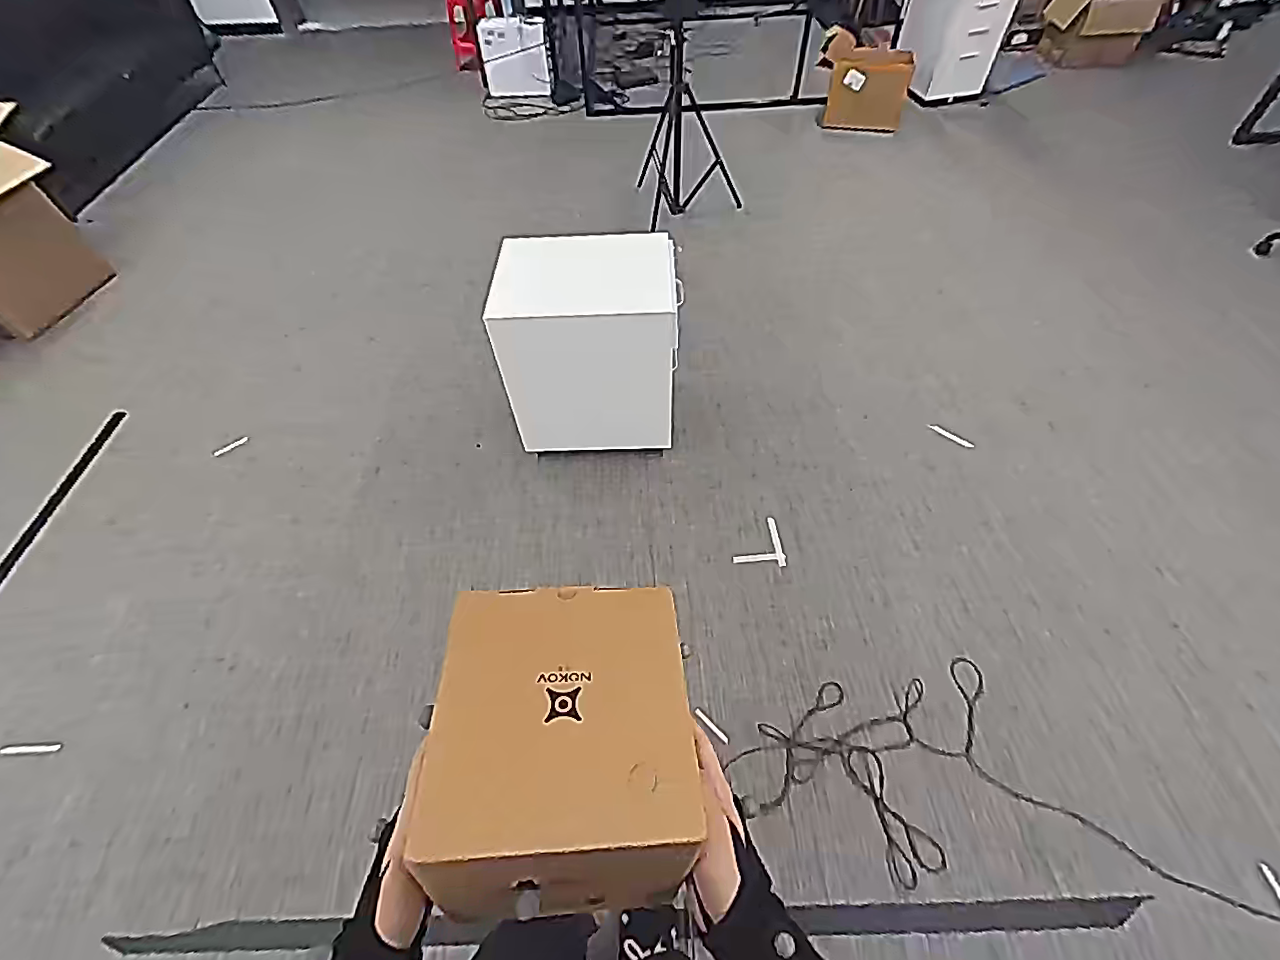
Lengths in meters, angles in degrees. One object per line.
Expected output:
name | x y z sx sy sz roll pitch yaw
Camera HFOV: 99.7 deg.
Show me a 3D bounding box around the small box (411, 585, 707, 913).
small box | -0.053 0.202 0.408 0.168 0.176 0.179 0 41 -7
